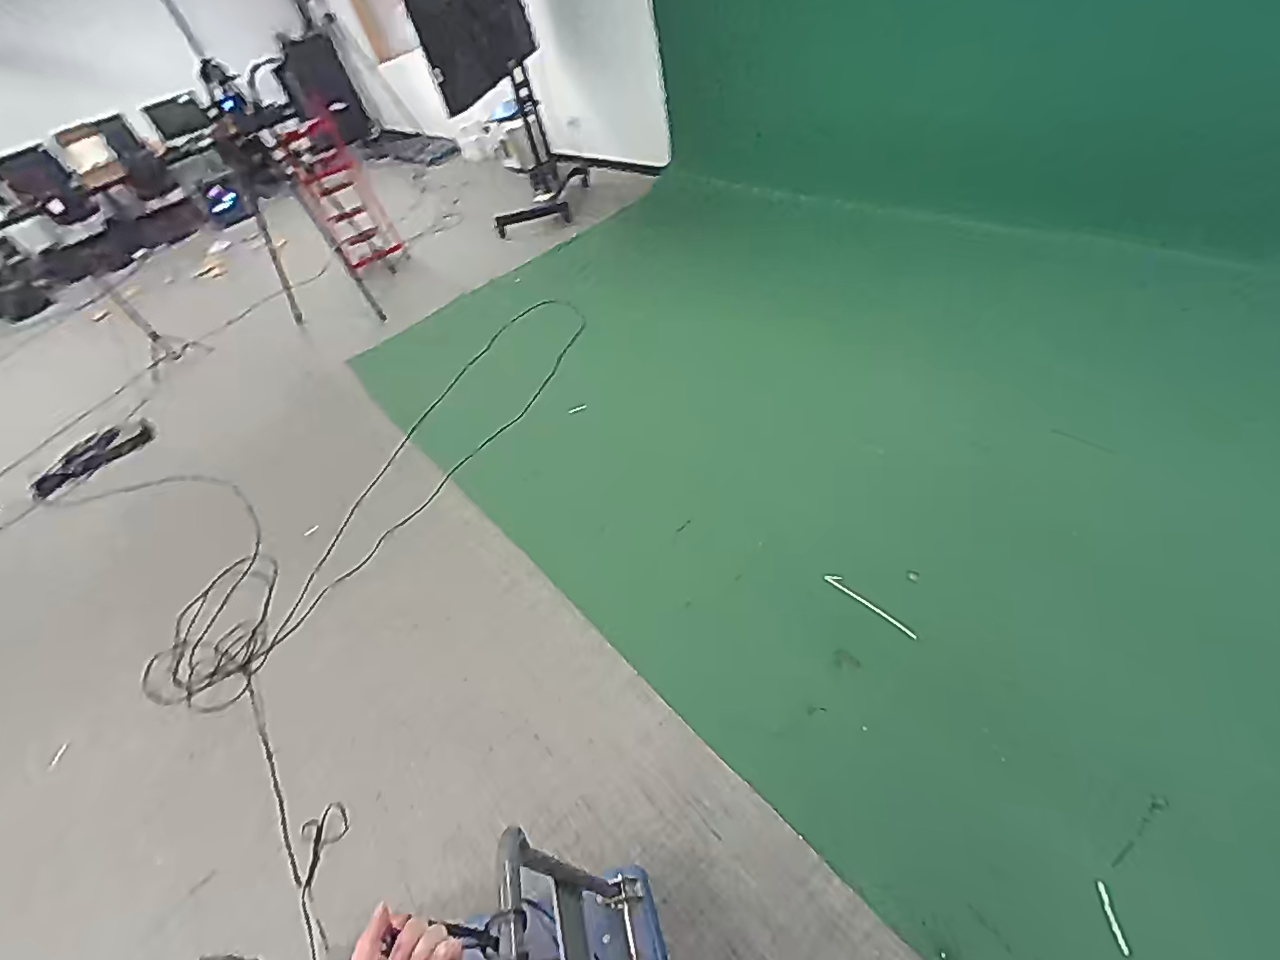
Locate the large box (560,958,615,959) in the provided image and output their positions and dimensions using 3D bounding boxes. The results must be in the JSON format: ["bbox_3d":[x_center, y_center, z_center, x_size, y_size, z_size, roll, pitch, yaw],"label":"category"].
[{"bbox_3d":[-0.239,1.044,0.900,0.408,0.320,0.320,-16,47,3],"label":"large box"}]
